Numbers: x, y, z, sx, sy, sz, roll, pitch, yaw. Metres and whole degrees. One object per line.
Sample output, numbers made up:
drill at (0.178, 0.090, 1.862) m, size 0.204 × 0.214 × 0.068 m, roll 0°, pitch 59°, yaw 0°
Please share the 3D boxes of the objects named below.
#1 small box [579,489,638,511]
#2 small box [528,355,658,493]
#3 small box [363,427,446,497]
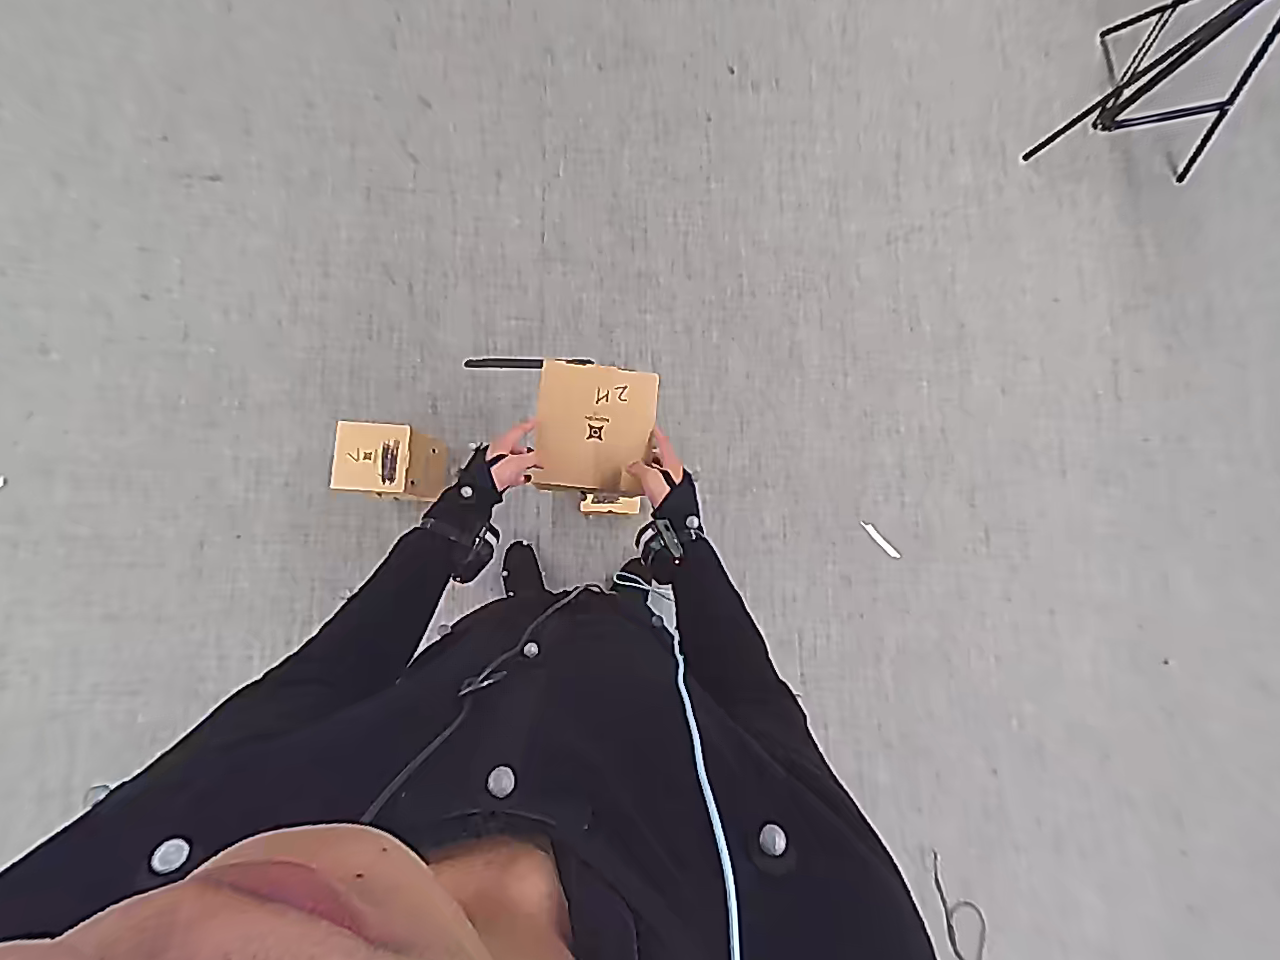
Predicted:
small box at (-0.089, -0.002, 1.578) m, size 0.168 × 0.176 × 0.179 m, roll 4°, pitch 84°, yaw -6°
small box at (-0.074, -0.073, 0.825) m, size 0.168 × 0.176 × 0.179 m, roll 6°, pitch 86°, yaw -9°
small box at (-0.659, -0.045, 1.531) m, size 0.168 × 0.176 × 0.179 m, roll 2°, pitch 84°, yaw -4°
